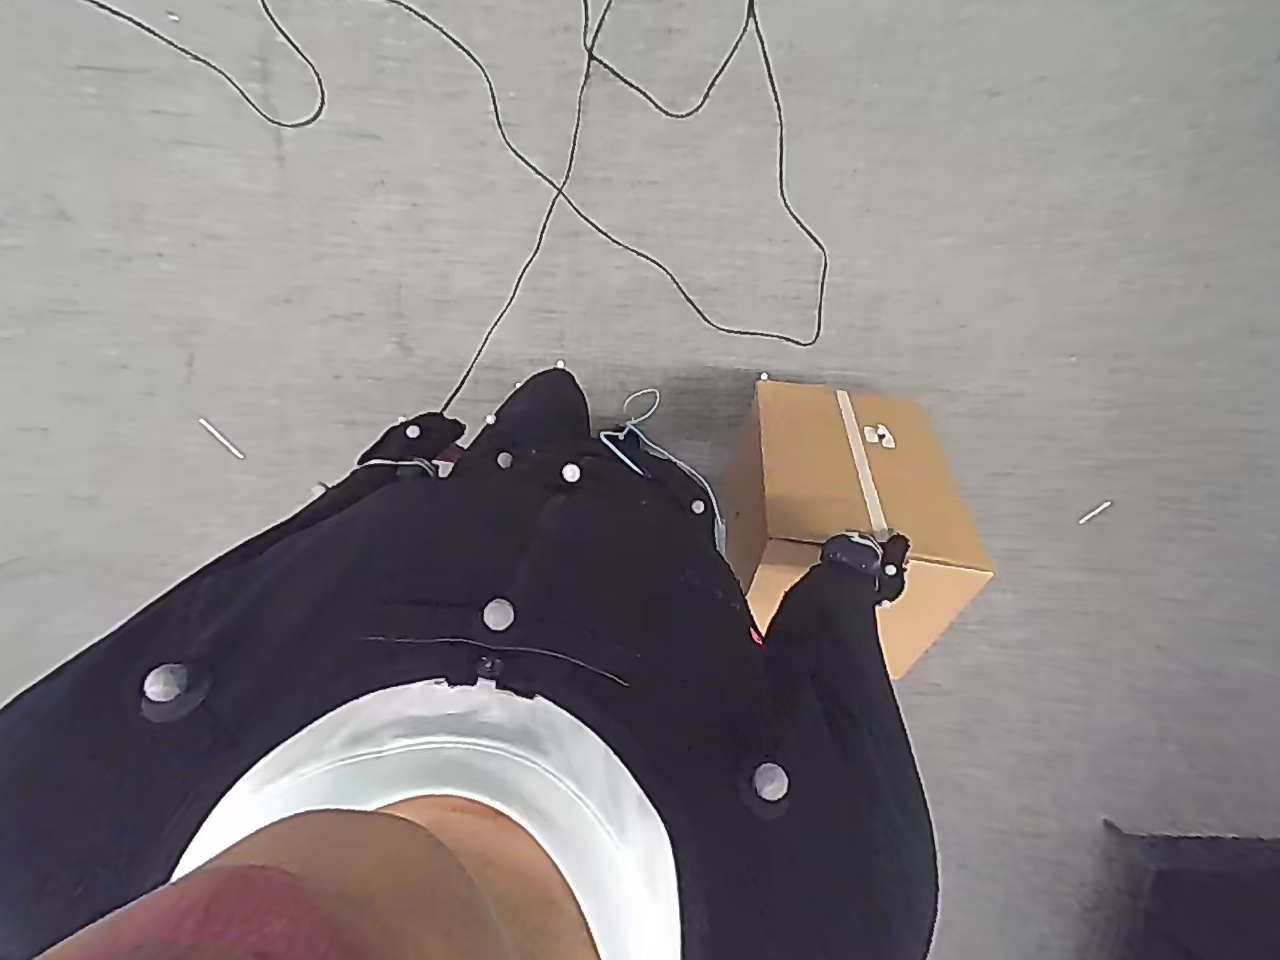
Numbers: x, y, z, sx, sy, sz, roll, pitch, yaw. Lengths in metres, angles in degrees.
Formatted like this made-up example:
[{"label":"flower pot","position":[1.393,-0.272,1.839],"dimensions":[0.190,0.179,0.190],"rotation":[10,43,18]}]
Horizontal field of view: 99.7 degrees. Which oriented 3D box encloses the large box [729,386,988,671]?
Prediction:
[{"label":"large box","position":[0.343,0.081,0.993],"dimensions":[0.320,0.408,0.320],"rotation":[9,133,1]}]
